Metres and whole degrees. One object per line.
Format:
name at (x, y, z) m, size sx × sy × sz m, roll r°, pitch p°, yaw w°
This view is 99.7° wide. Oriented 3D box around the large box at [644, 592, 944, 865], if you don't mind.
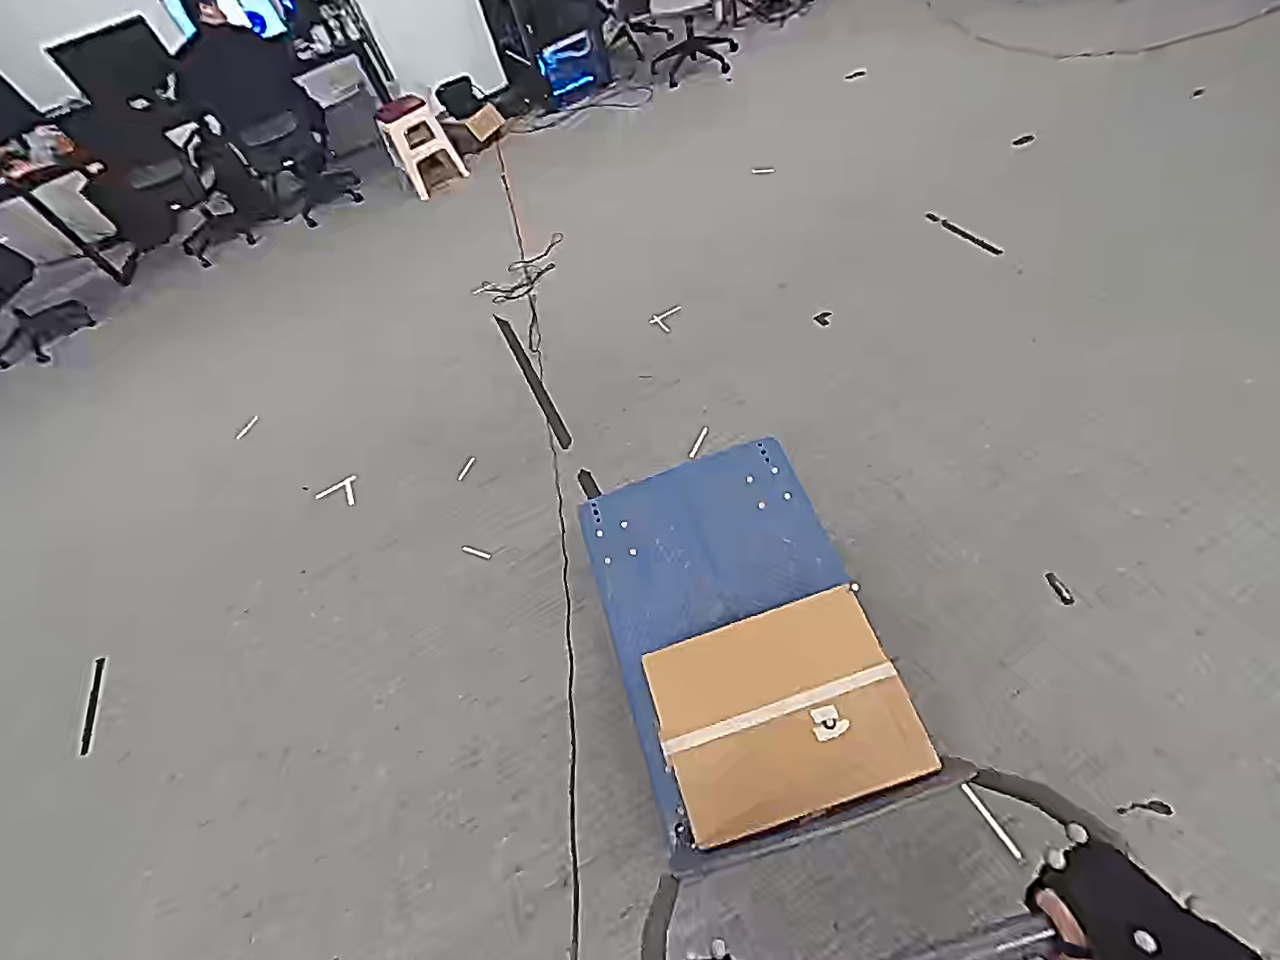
large box at (0.259, 0.461, 1.023) m, size 0.408 × 0.320 × 0.320 m, roll -20°, pitch 63°, yaw 0°
